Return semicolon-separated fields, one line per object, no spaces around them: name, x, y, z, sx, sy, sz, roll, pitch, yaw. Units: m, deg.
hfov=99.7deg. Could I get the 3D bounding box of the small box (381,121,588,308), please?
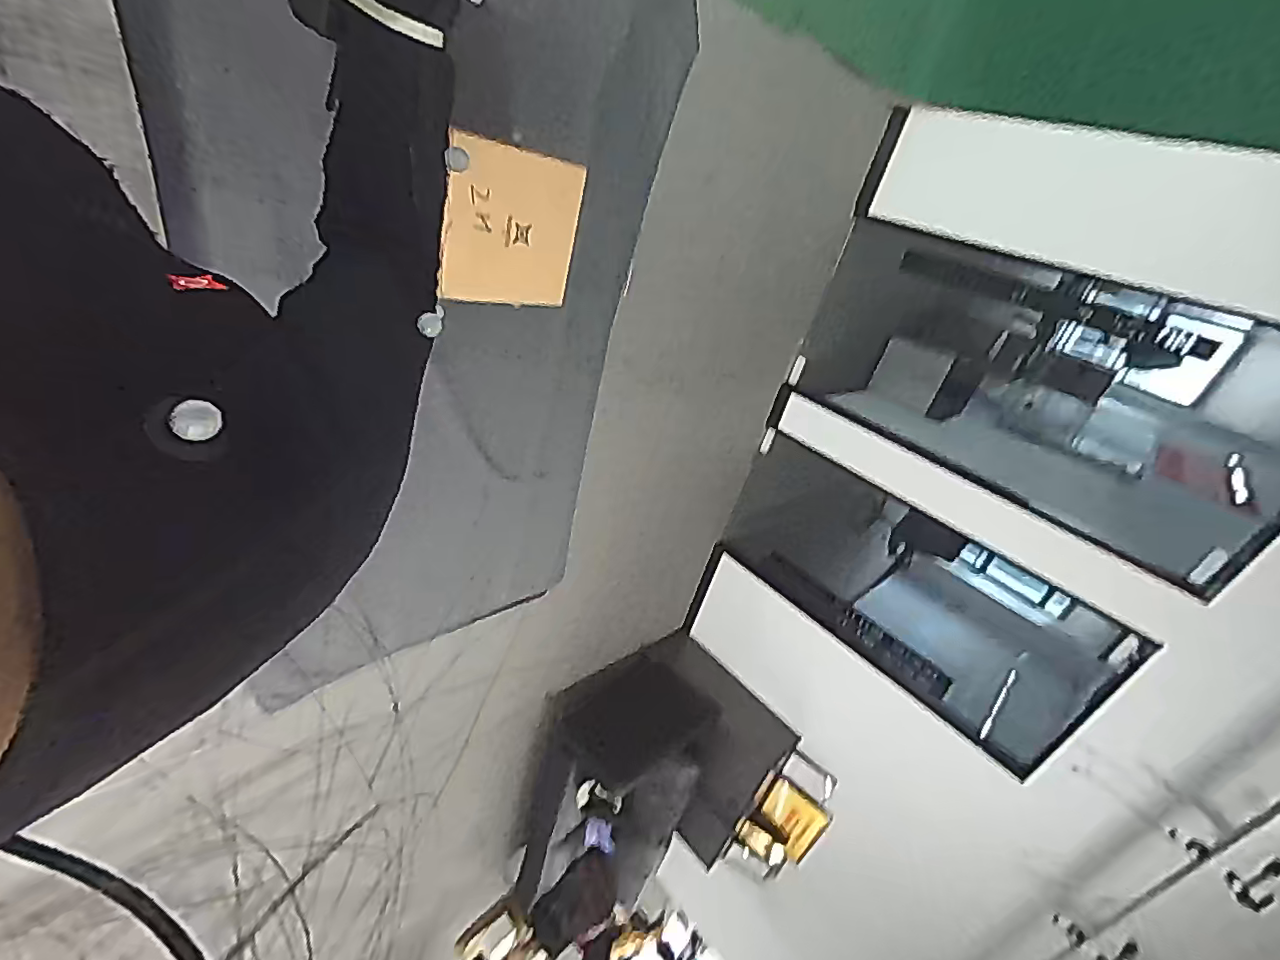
small box;-0.197;-0.325;0.675;0.179;0.176;0.168;-14;130;-44
